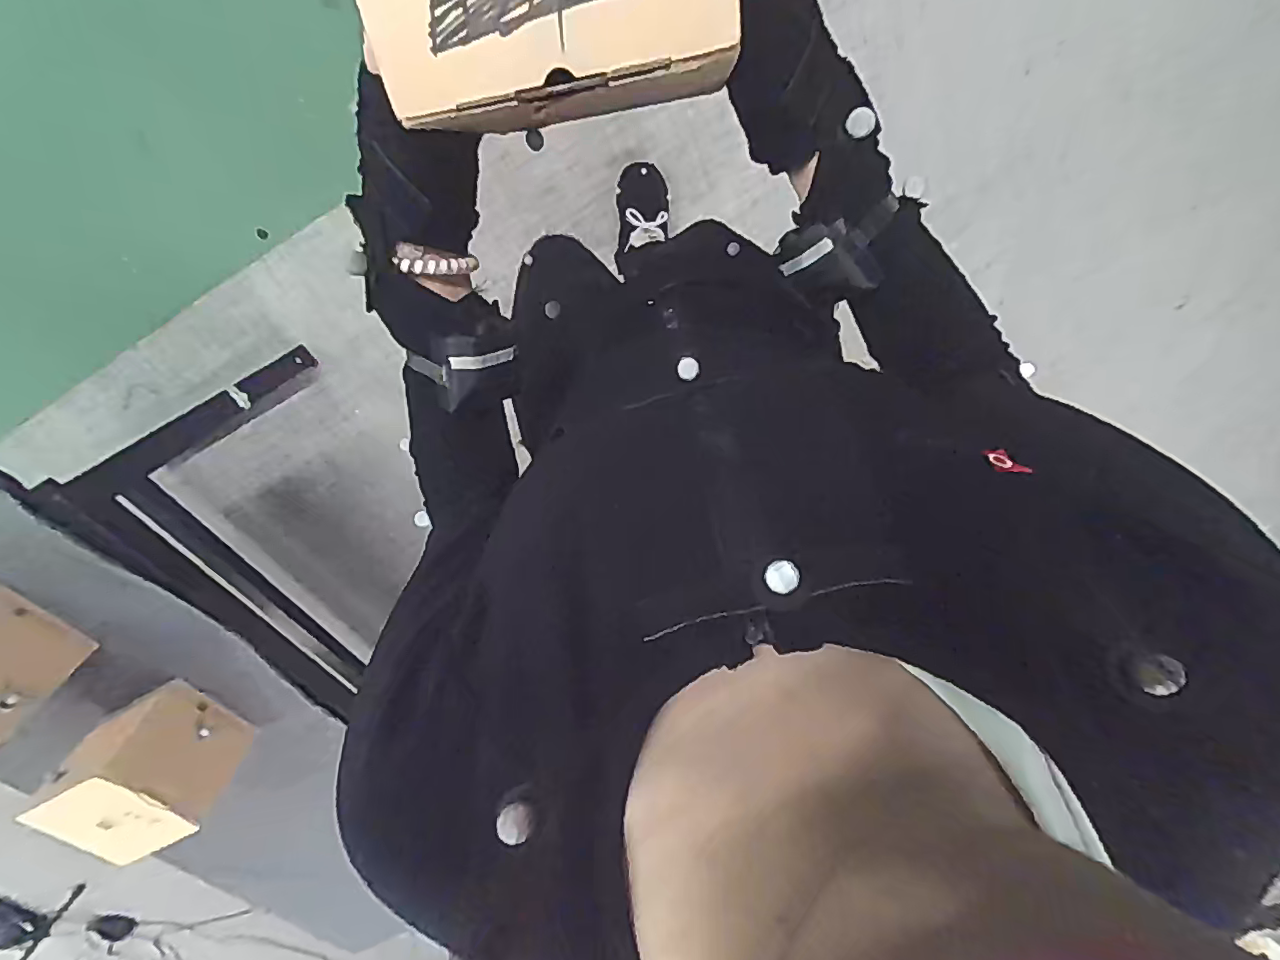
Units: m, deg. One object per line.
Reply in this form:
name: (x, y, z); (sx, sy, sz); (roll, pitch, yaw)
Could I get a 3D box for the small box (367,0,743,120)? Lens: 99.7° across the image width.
small box: (-0.039, -0.296, 0.272); (0.168, 0.176, 0.179); (-6, 120, 8)

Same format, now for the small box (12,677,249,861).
small box: (-0.773, 0.447, 0.846); (0.179, 0.176, 0.168); (-27, 119, 10)
